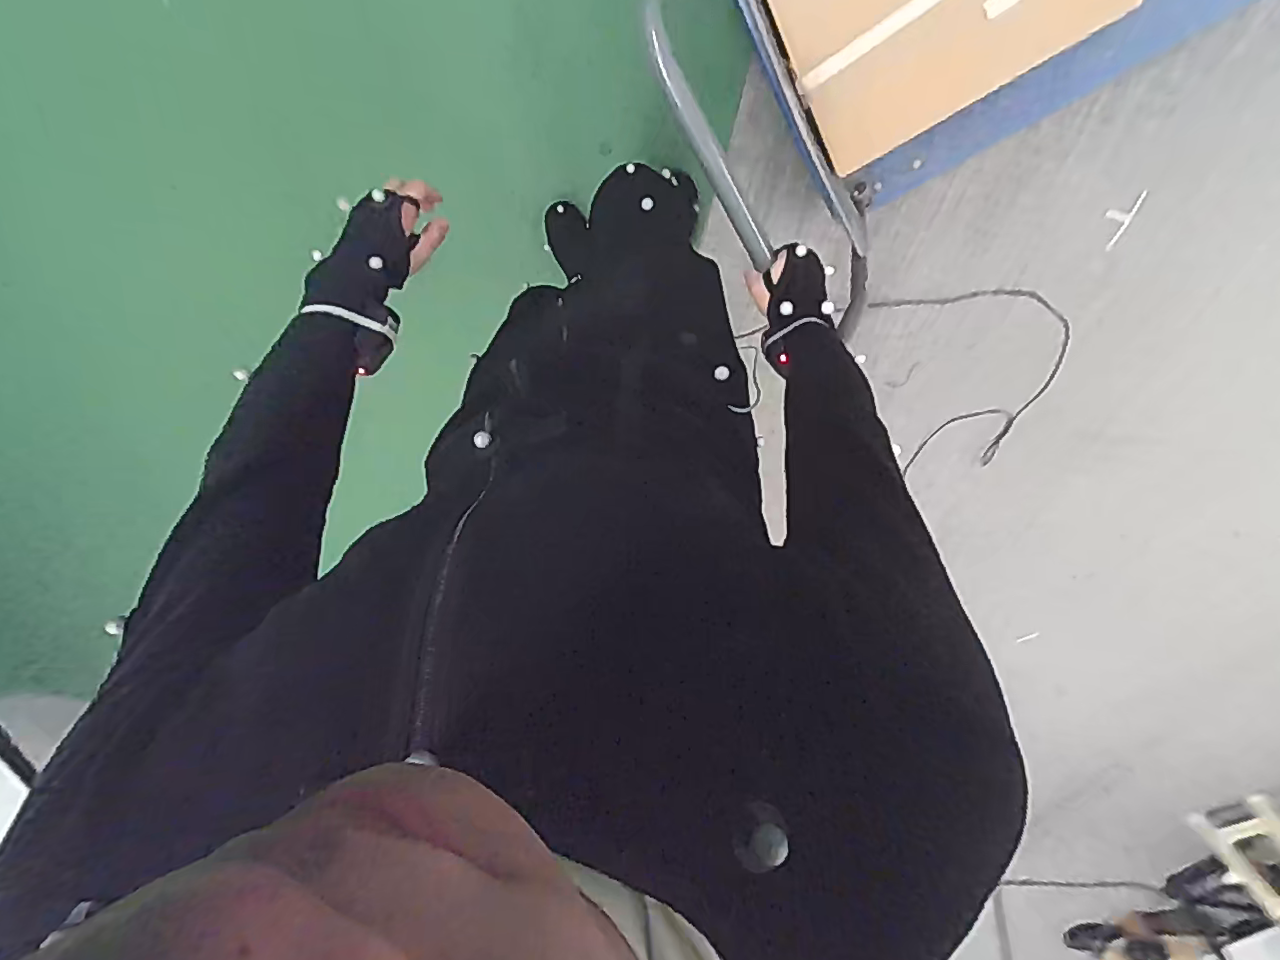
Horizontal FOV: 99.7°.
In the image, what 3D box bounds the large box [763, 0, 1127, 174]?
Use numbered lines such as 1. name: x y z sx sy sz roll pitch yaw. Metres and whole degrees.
1. large box: 0.442 -0.777 0.858 0.408 0.320 0.320 -20 123 30
